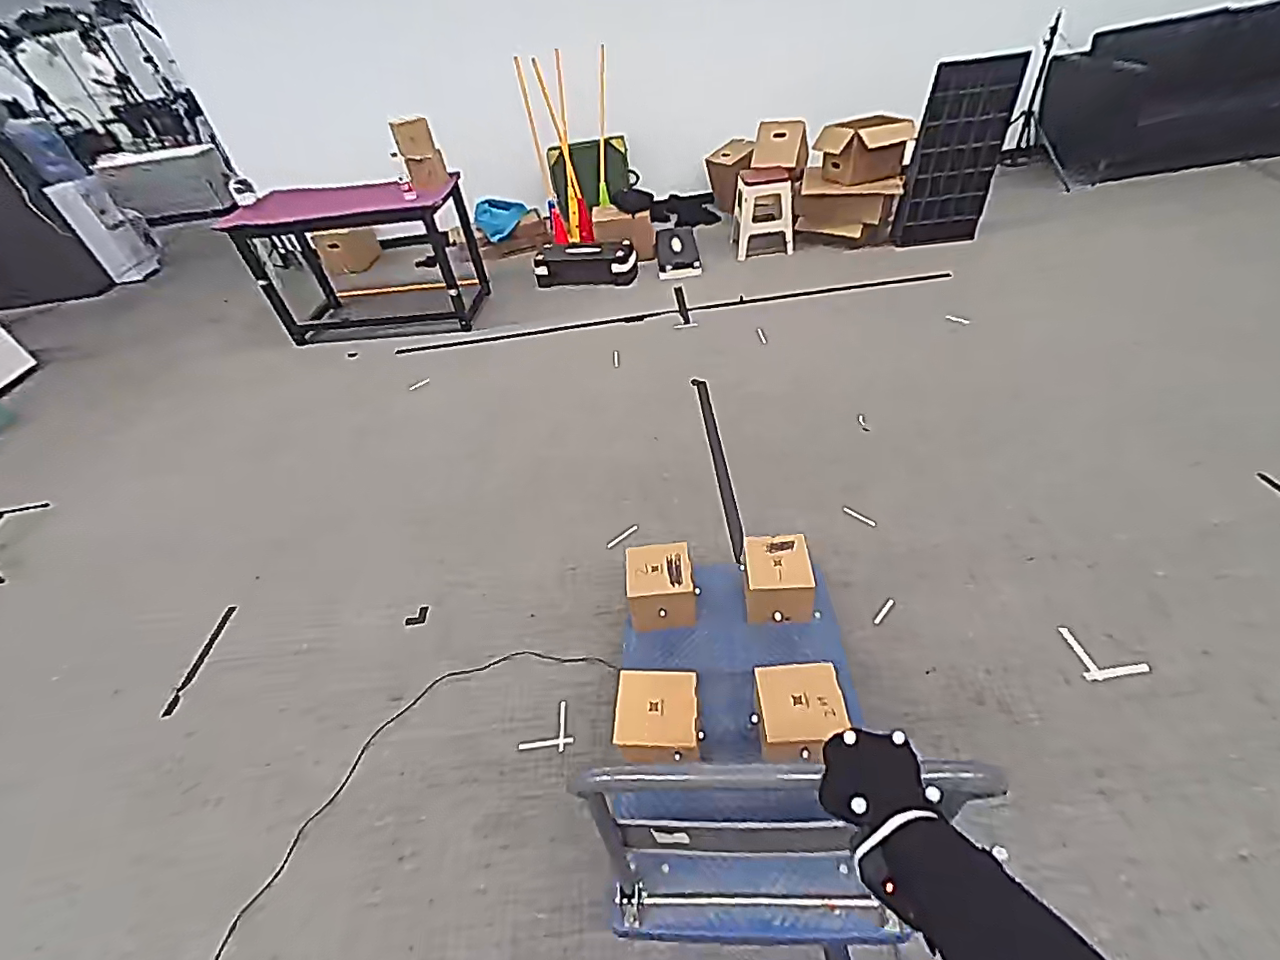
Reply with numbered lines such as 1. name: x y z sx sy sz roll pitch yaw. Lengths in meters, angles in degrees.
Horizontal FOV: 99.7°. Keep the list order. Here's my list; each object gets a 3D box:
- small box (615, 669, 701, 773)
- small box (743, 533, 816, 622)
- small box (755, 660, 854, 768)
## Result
1. small box: 0.048 0.549 1.229 0.179 0.176 0.168 -1 43 6
2. small box: 0.372 0.267 1.478 0.168 0.176 0.179 -4 44 6
3. small box: 0.355 0.524 1.203 0.179 0.176 0.168 -6 43 4
